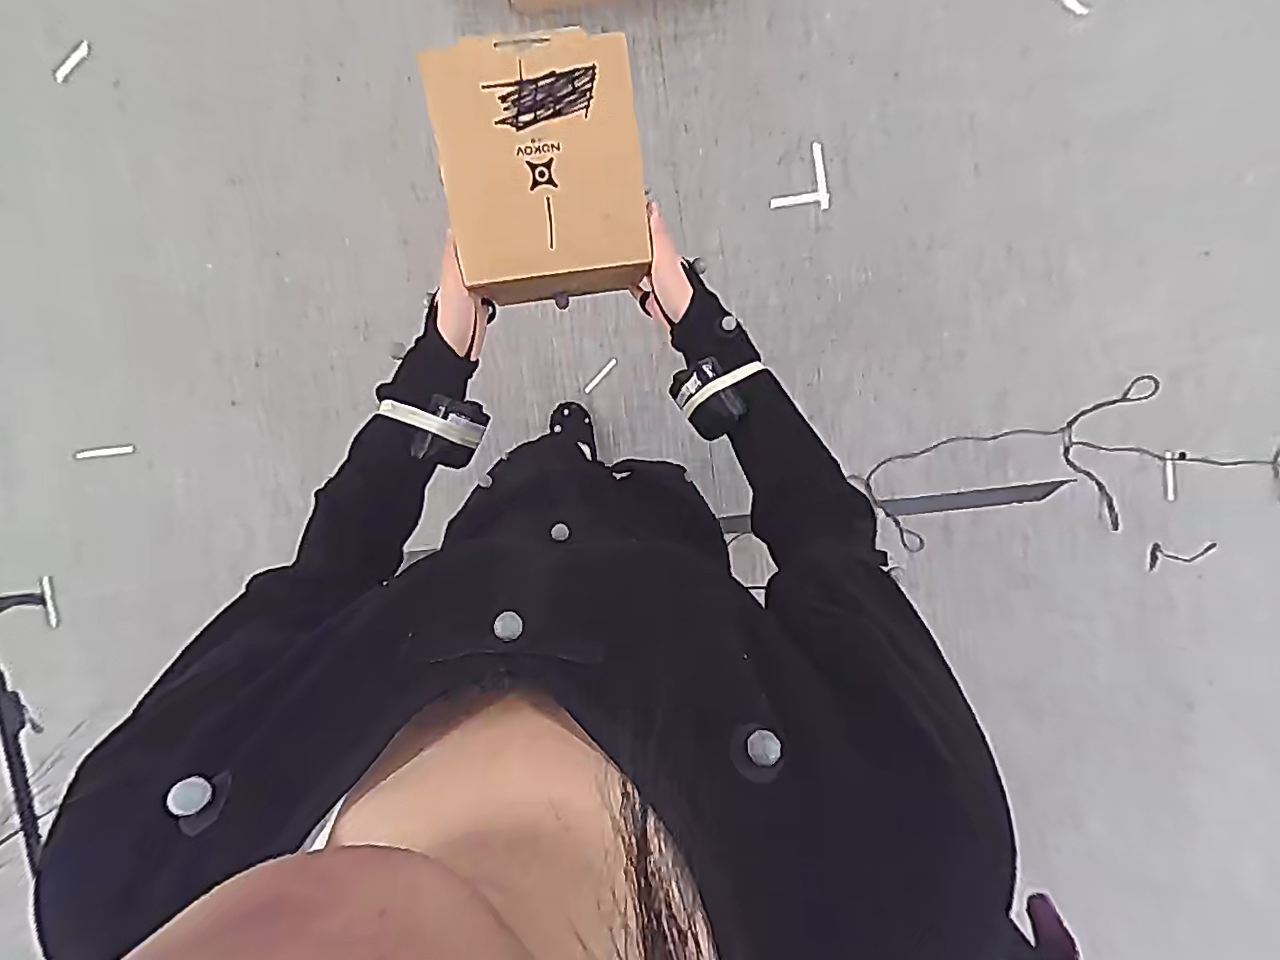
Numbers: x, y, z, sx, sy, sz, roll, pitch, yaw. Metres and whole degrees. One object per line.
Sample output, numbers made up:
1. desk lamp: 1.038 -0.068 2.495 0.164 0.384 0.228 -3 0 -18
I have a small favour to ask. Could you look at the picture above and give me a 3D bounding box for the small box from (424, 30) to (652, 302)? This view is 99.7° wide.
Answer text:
1. small box: -0.086 -0.279 0.520 0.168 0.176 0.179 -8 103 -2
